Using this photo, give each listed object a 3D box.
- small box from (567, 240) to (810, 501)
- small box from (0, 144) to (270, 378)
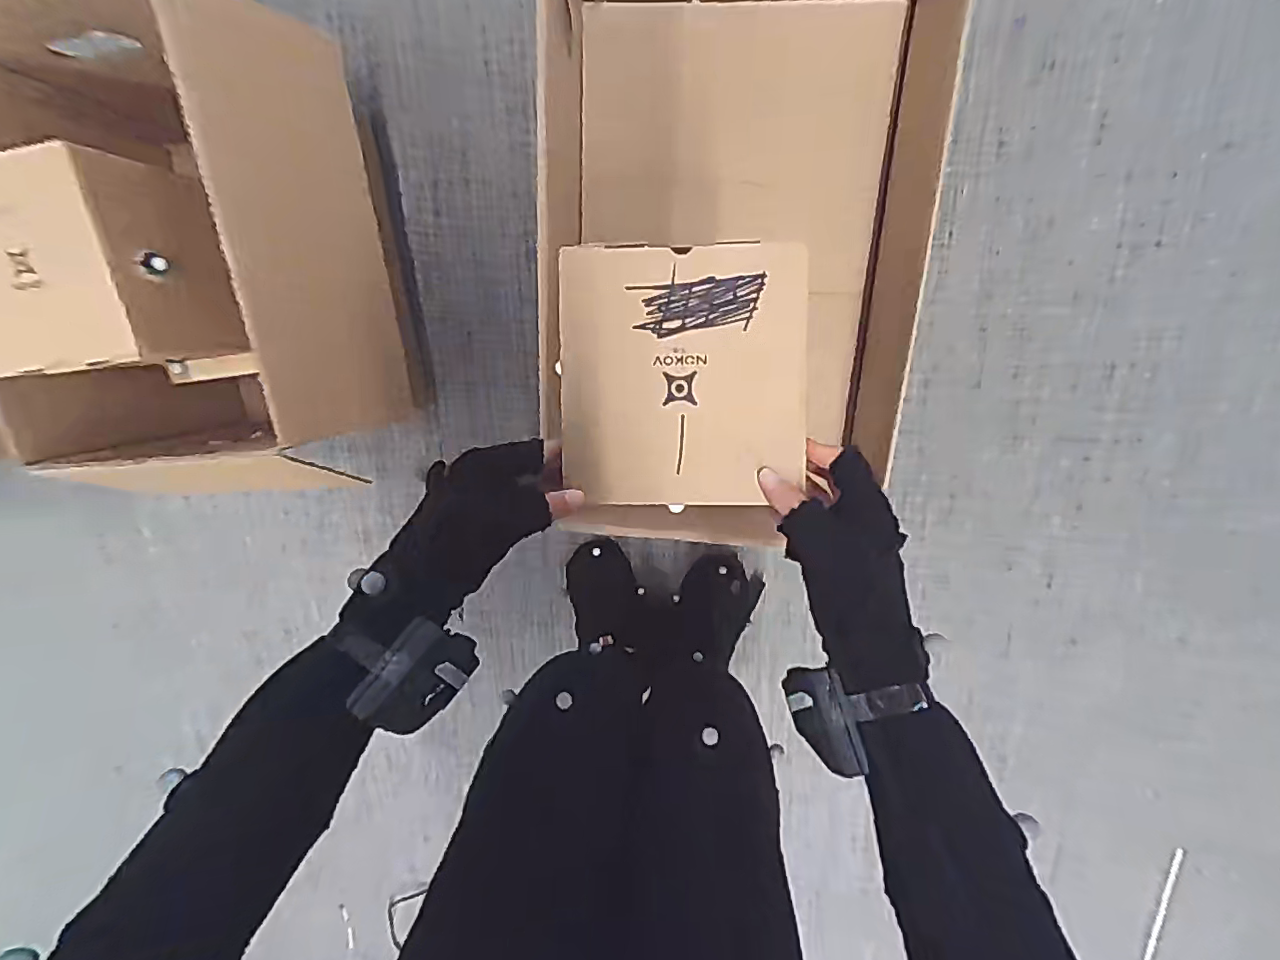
[{"bbox_3d":[0.037,-0.077,0.447,0.168,0.176,0.179,0,94,5],"label":"small box"},{"bbox_3d":[-0.520,-0.207,0.544,0.168,0.176,0.179,-5,106,7],"label":"small box"}]
